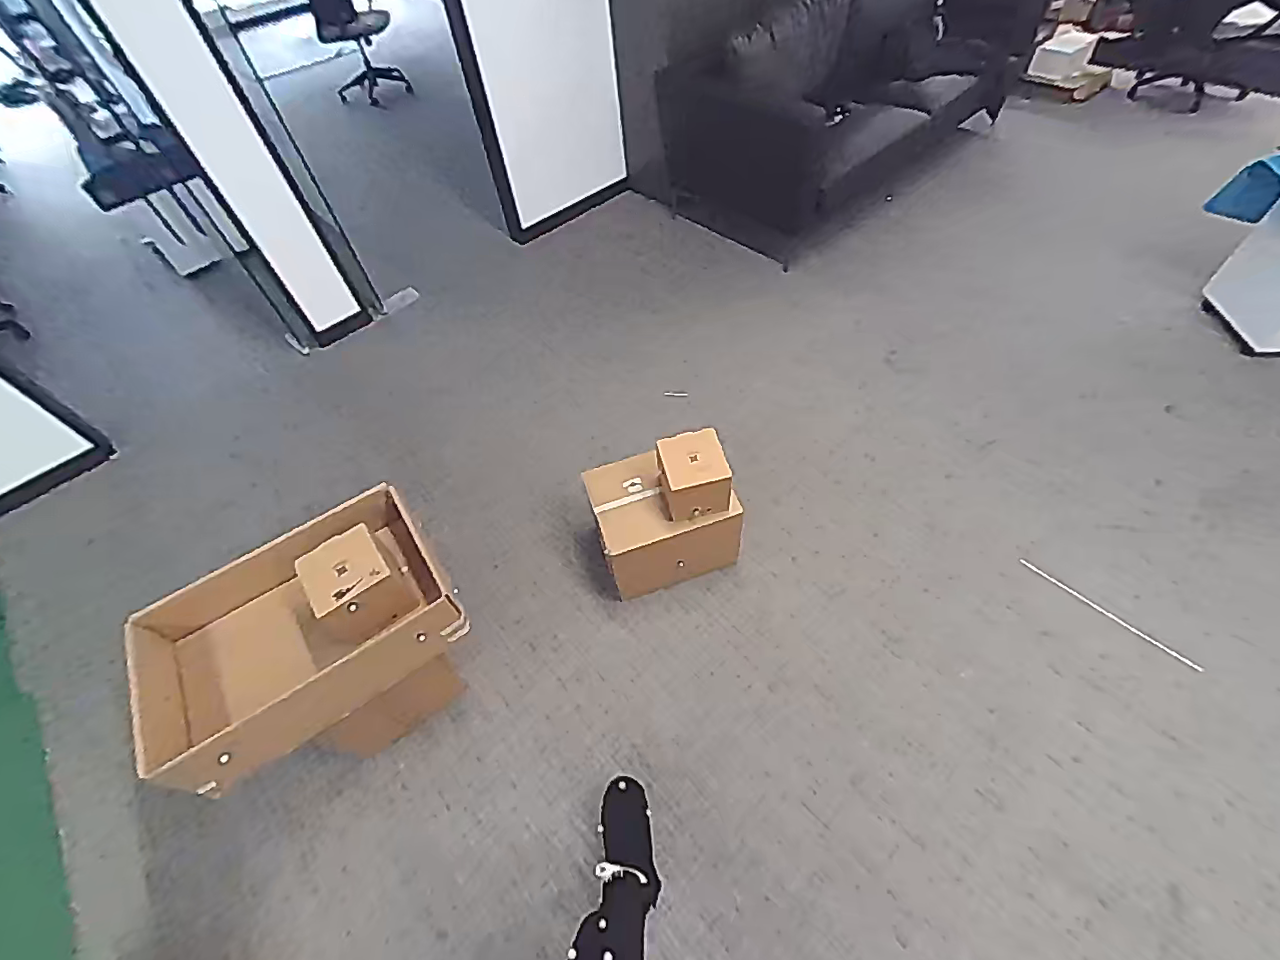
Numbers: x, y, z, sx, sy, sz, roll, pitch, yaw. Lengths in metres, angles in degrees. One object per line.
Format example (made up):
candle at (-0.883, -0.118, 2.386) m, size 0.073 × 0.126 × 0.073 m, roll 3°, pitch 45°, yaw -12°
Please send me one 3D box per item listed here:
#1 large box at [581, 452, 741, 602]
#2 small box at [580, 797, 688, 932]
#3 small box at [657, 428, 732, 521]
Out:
large box at (0.067, 0.129, 1.700) m, size 0.408 × 0.320 × 0.320 m, roll -18°, pitch 53°, yaw -7°
small box at (-0.016, 0.857, 1.222) m, size 0.179 × 0.176 × 0.168 m, roll 29°, pitch 78°, yaw 26°
small box at (0.144, -0.012, 1.490) m, size 0.168 × 0.176 × 0.179 m, roll -13°, pitch 55°, yaw -3°
